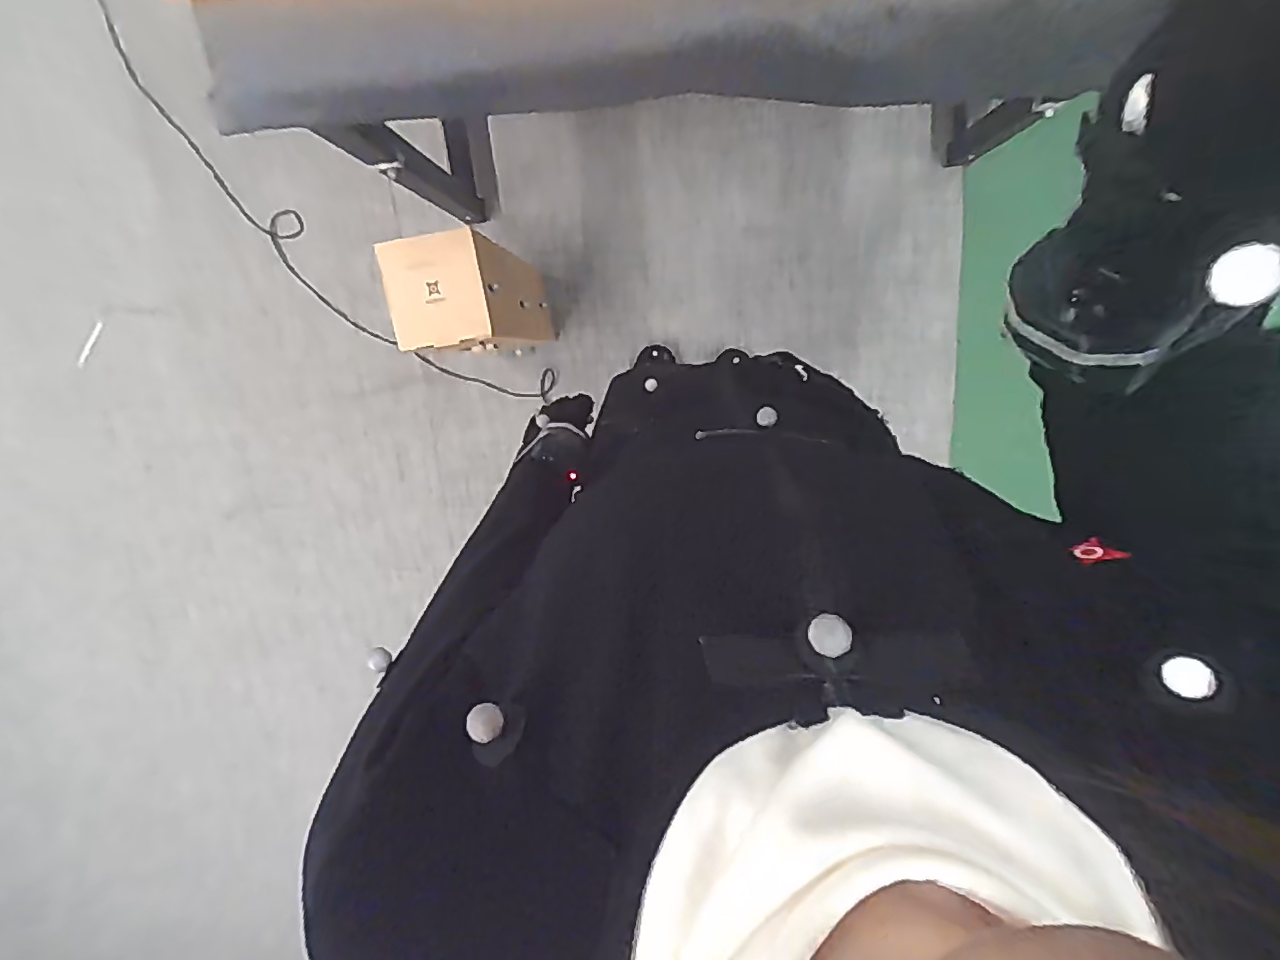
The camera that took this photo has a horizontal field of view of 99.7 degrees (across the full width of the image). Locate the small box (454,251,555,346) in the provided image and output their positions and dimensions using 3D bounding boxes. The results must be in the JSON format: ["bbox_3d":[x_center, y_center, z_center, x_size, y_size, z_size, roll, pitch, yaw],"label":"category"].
[{"bbox_3d":[-0.311,-0.420,1.277,0.168,0.176,0.179,-11,104,6],"label":"small box"}]
